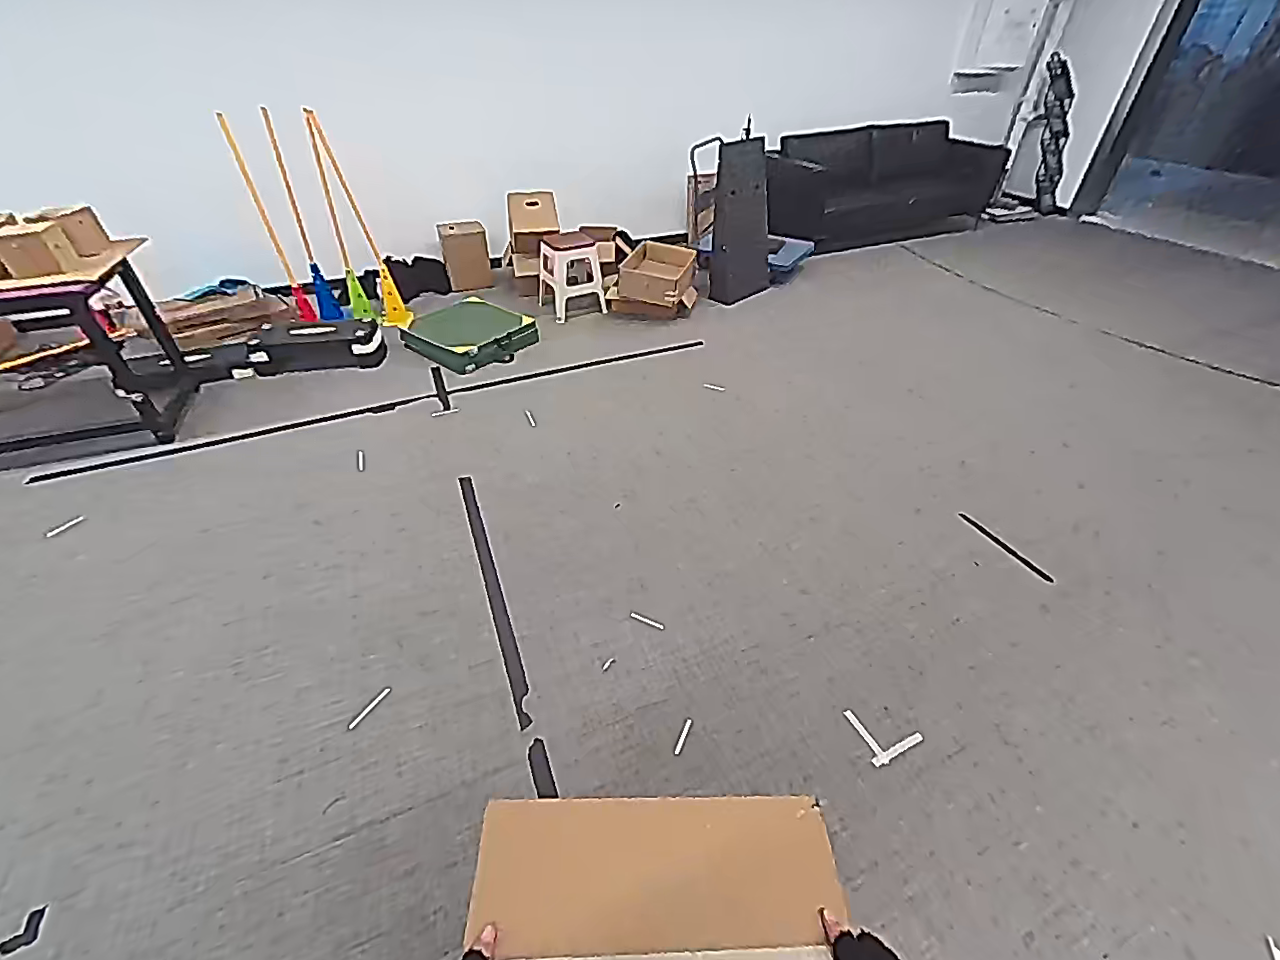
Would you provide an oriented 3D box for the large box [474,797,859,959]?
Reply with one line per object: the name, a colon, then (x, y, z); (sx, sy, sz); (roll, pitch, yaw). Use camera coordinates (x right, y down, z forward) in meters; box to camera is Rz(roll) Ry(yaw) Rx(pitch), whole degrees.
large box: (0.017, 0.607, 0.638); (0.408, 0.320, 0.320); (3, 39, -5)
